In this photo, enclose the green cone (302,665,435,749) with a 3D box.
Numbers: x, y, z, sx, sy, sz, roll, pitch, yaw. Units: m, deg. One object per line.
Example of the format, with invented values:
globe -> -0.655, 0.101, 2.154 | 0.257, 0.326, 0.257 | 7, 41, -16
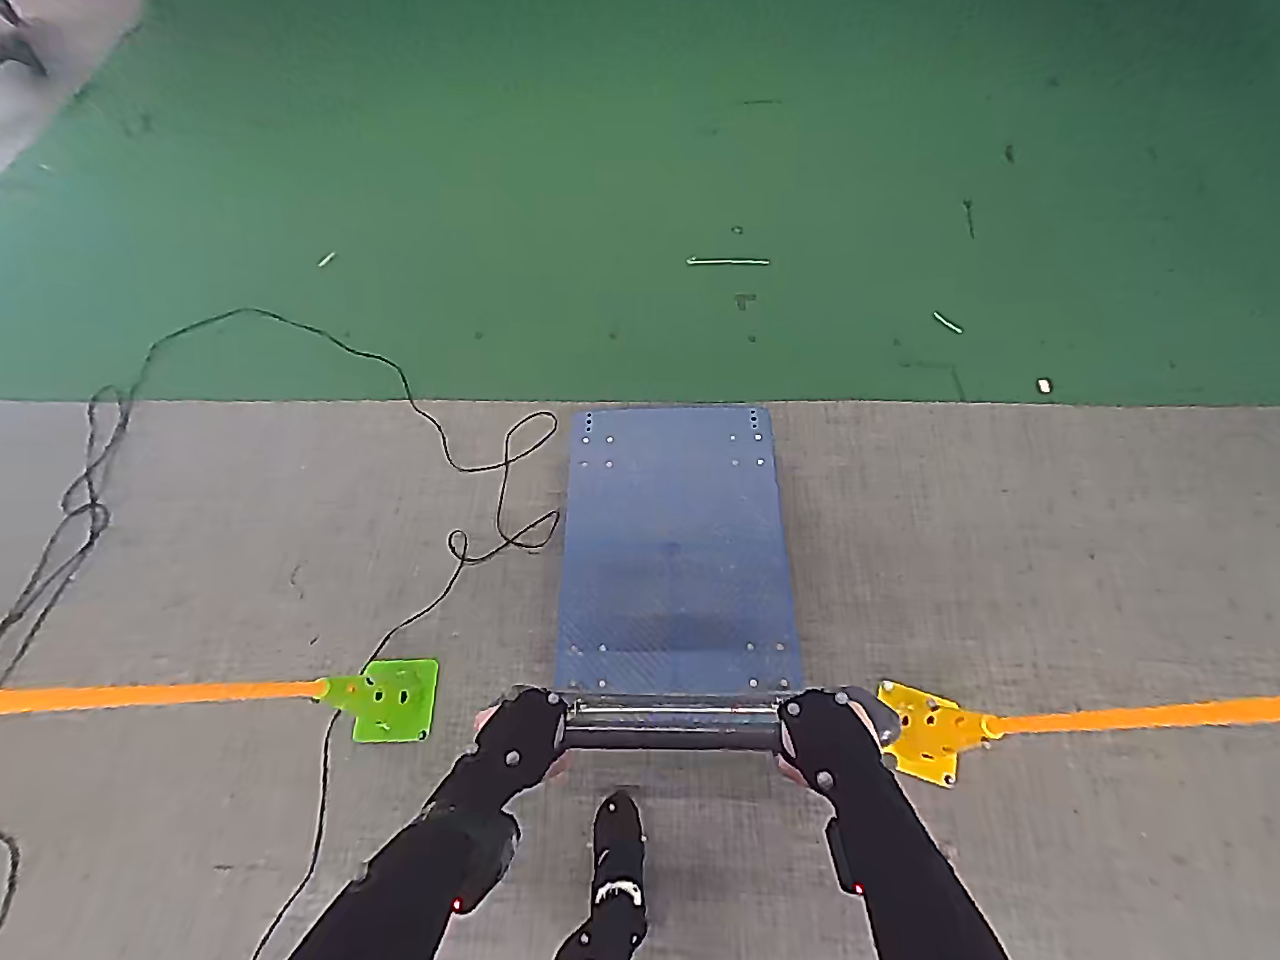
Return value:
green cone -> -0.655, 0.516, 1.265 | 0.202, 0.368, 0.200 | -4, 63, 3
